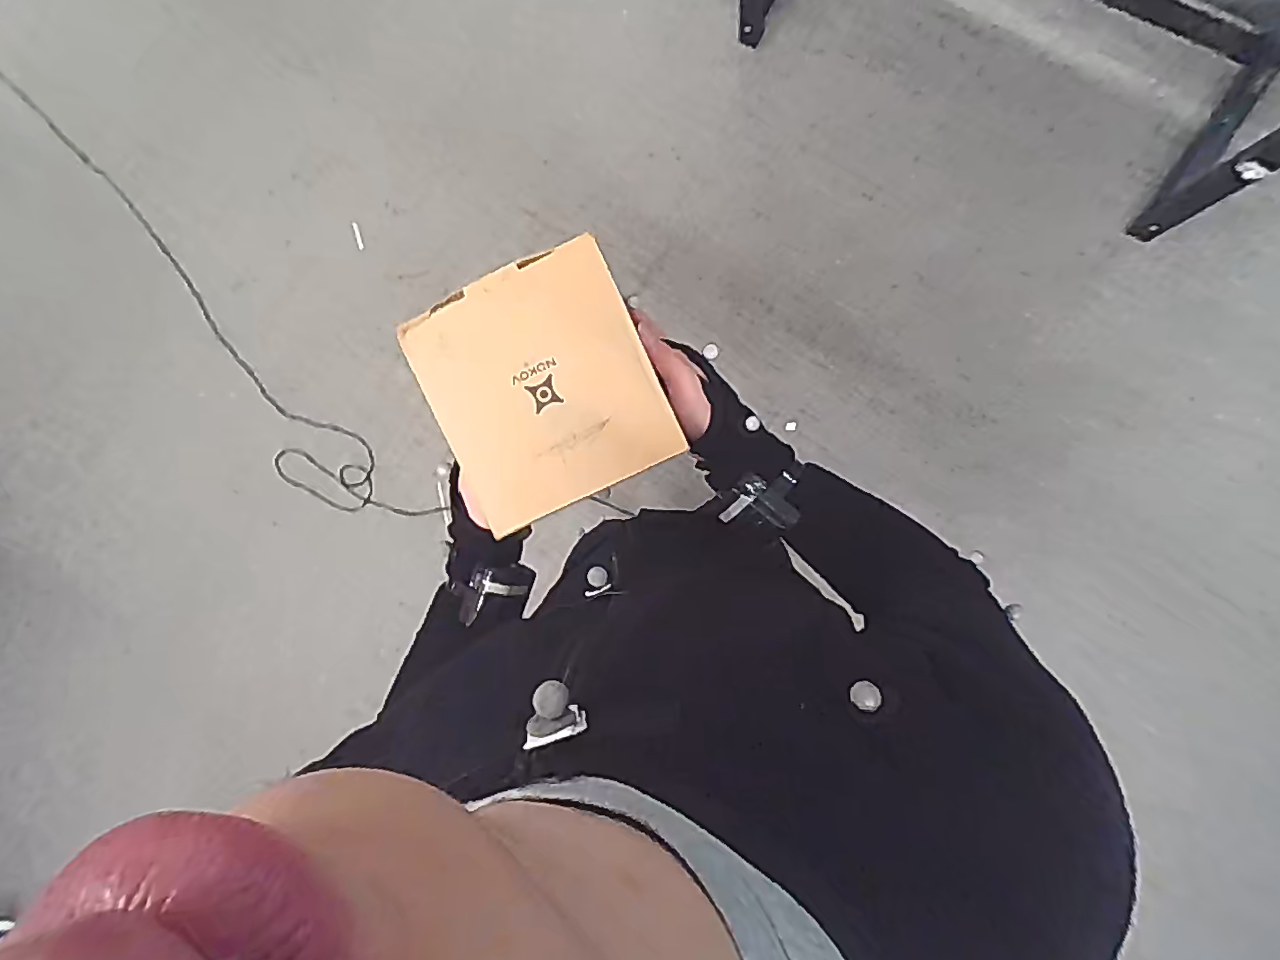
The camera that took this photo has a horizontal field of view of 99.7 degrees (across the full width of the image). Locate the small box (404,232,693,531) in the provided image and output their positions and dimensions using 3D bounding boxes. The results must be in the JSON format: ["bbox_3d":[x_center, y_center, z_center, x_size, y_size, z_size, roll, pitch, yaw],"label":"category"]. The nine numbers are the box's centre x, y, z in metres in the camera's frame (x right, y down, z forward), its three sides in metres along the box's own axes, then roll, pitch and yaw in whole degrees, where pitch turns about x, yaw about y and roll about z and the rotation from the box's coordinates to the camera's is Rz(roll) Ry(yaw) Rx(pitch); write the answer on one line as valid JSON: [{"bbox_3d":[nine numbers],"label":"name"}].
[{"bbox_3d":[-0.066,-0.078,0.479,0.168,0.176,0.179,-24,96,5],"label":"small box"}]
